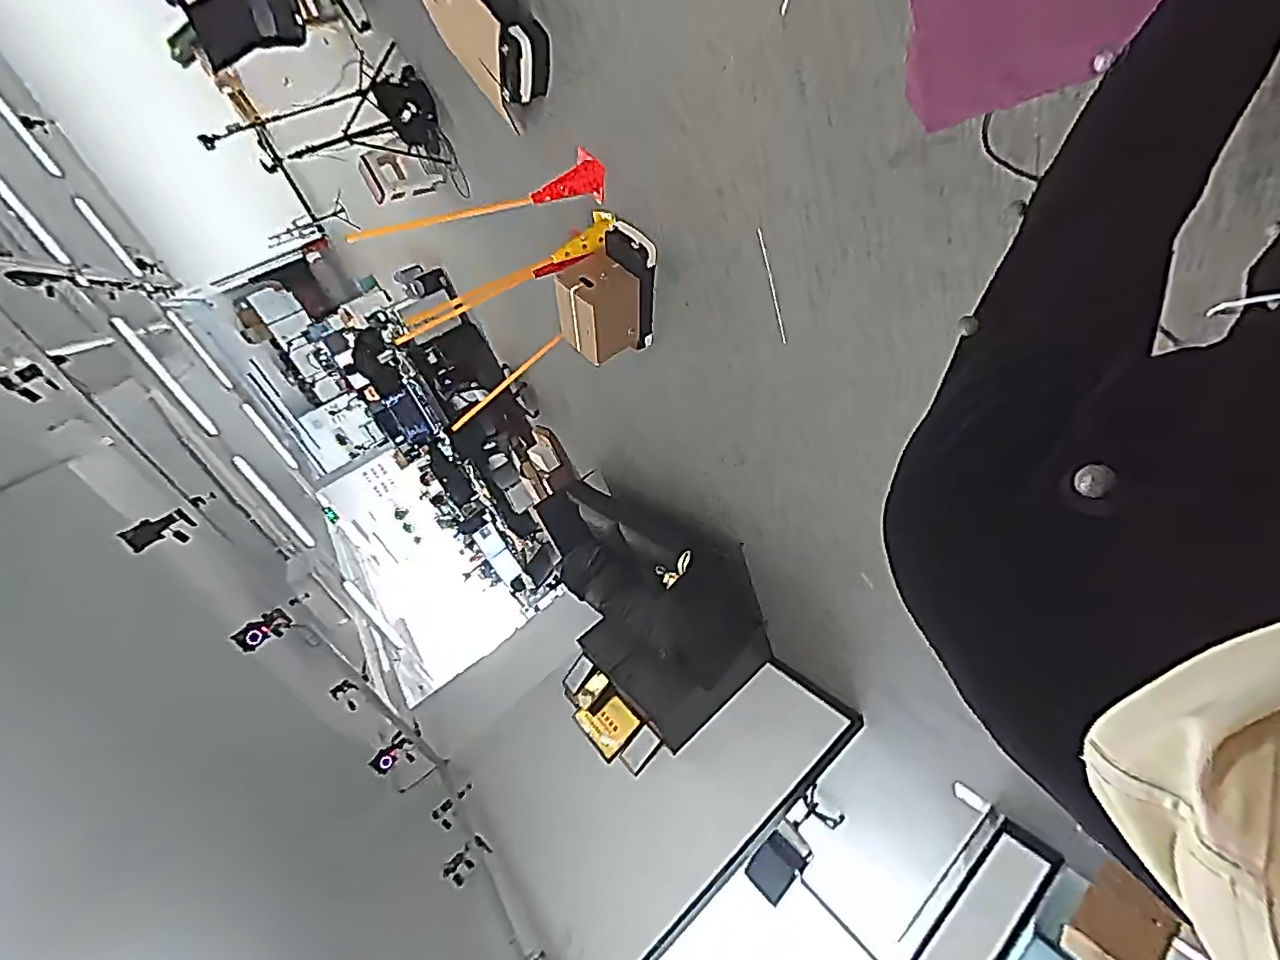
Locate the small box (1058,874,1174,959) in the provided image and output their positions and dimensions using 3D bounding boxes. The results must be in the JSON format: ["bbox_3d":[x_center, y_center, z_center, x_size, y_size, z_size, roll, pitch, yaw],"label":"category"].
[{"bbox_3d":[1.191,1.145,1.356,0.168,0.176,0.179,28,148,51],"label":"small box"}]

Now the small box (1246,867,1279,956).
[{"bbox_3d":[1.589,1.042,1.261,0.179,0.176,0.168,29,147,53],"label":"small box"}]
